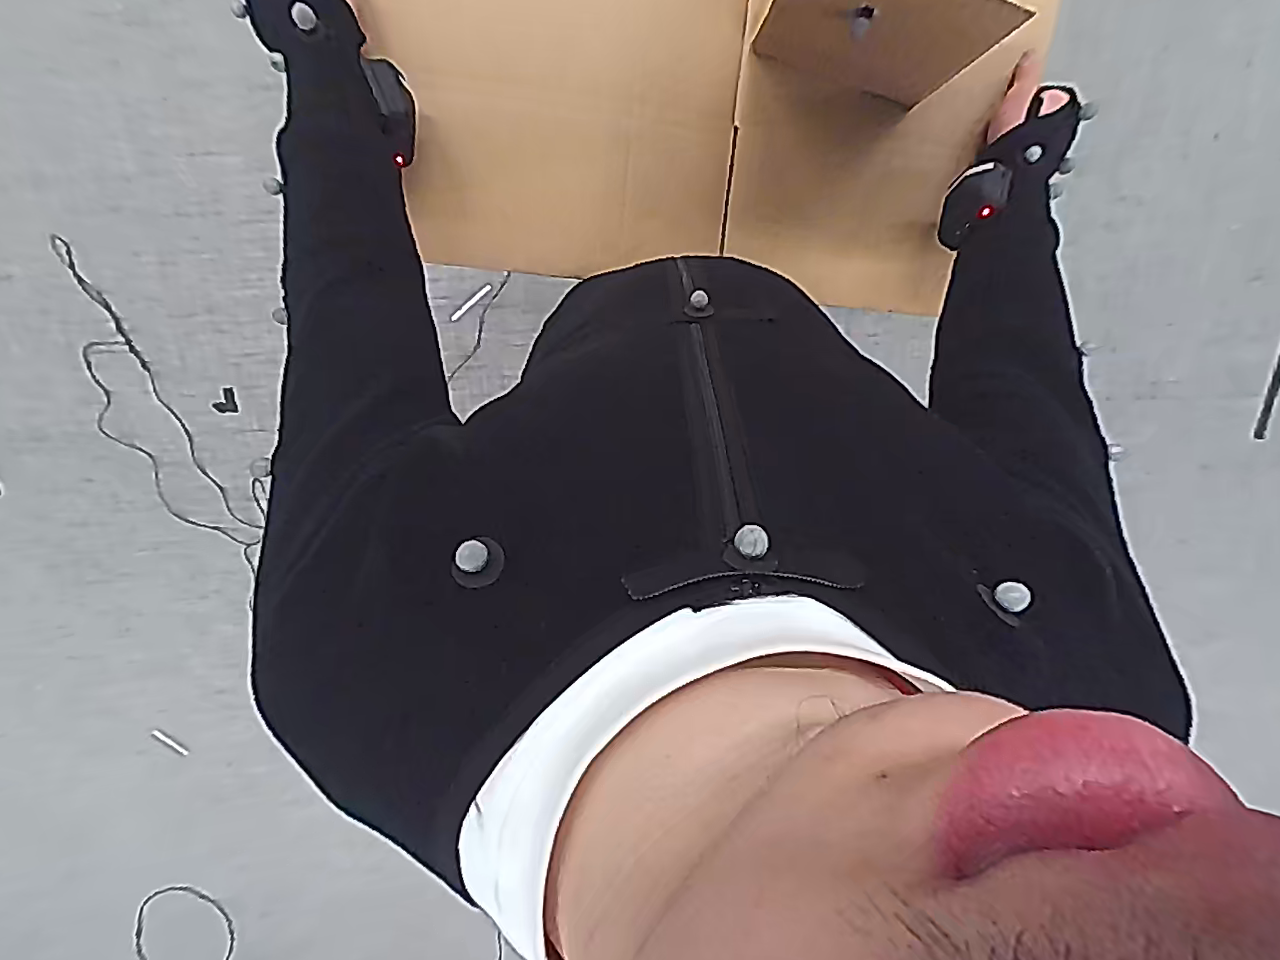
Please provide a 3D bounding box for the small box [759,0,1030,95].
[{"bbox_3d":[0.213,-0.451,0.435,0.179,0.176,0.168,15,105,-5],"label":"small box"}]
